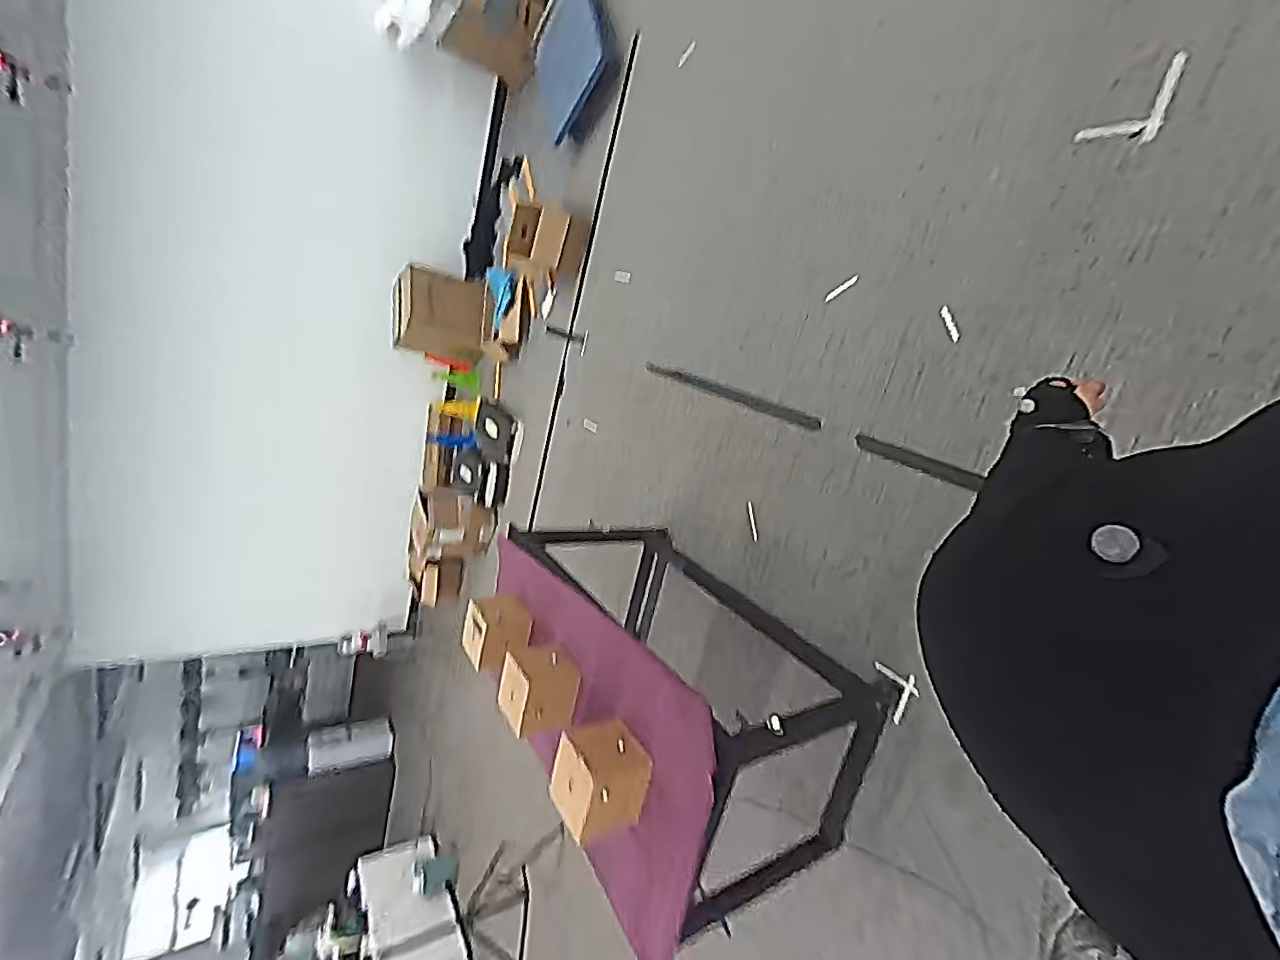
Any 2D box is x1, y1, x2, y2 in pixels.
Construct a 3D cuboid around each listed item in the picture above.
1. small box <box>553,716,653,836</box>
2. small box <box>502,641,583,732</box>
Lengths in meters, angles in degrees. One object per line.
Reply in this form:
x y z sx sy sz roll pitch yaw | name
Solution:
-0.089 0.712 1.319 0.168 0.176 0.179 30 109 51 | small box
-0.285 0.599 1.591 0.168 0.176 0.179 30 111 50 | small box
